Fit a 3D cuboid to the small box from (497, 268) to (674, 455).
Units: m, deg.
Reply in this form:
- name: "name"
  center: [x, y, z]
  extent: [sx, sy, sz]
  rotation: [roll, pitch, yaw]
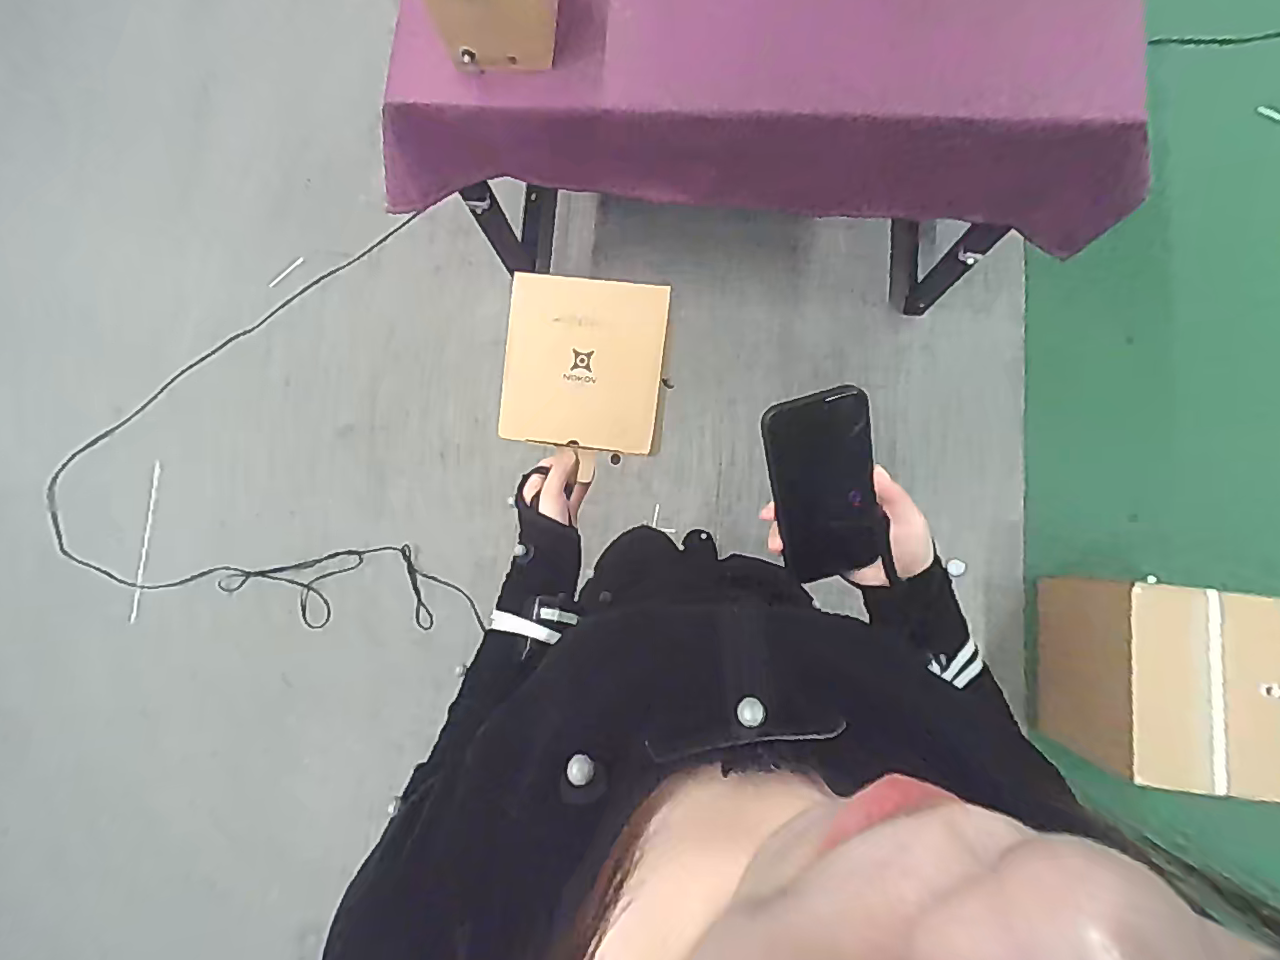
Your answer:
- name: "small box"
  center: [-0.053, -0.128, 0.635]
  extent: [0.168, 0.176, 0.179]
  rotation: [8, 94, 5]

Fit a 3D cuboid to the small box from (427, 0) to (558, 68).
- name: "small box"
  center: [-0.227, -0.777, 0.832]
  extent: [0.168, 0.176, 0.179]
  rotation: [3, 82, 4]
